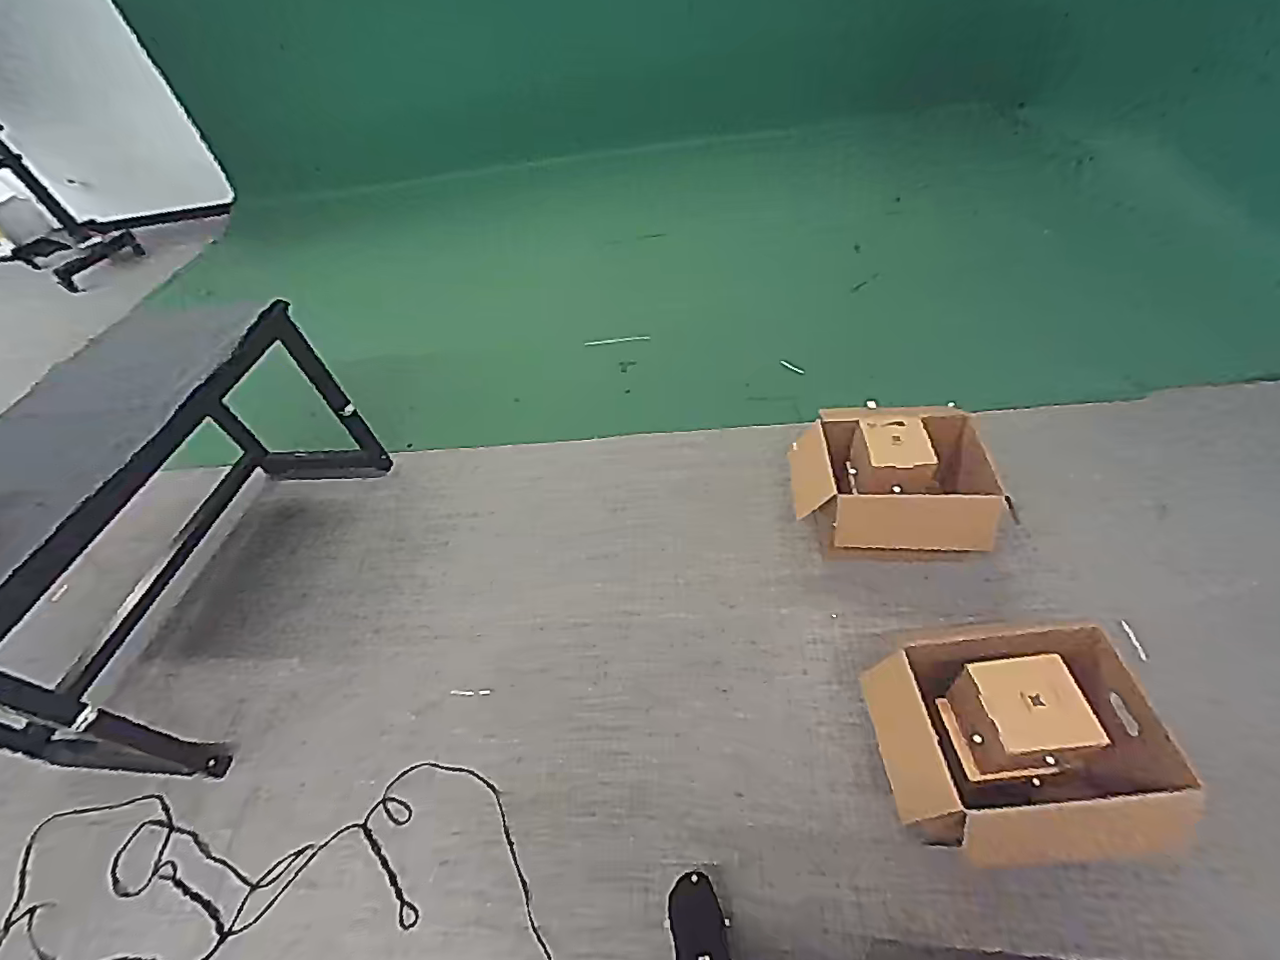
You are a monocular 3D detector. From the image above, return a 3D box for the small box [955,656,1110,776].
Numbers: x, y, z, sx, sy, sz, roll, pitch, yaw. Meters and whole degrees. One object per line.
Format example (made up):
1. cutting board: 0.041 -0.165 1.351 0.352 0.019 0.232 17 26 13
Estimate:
1. small box: 0.747 0.467 1.061 0.179 0.176 0.168 -9 49 5
